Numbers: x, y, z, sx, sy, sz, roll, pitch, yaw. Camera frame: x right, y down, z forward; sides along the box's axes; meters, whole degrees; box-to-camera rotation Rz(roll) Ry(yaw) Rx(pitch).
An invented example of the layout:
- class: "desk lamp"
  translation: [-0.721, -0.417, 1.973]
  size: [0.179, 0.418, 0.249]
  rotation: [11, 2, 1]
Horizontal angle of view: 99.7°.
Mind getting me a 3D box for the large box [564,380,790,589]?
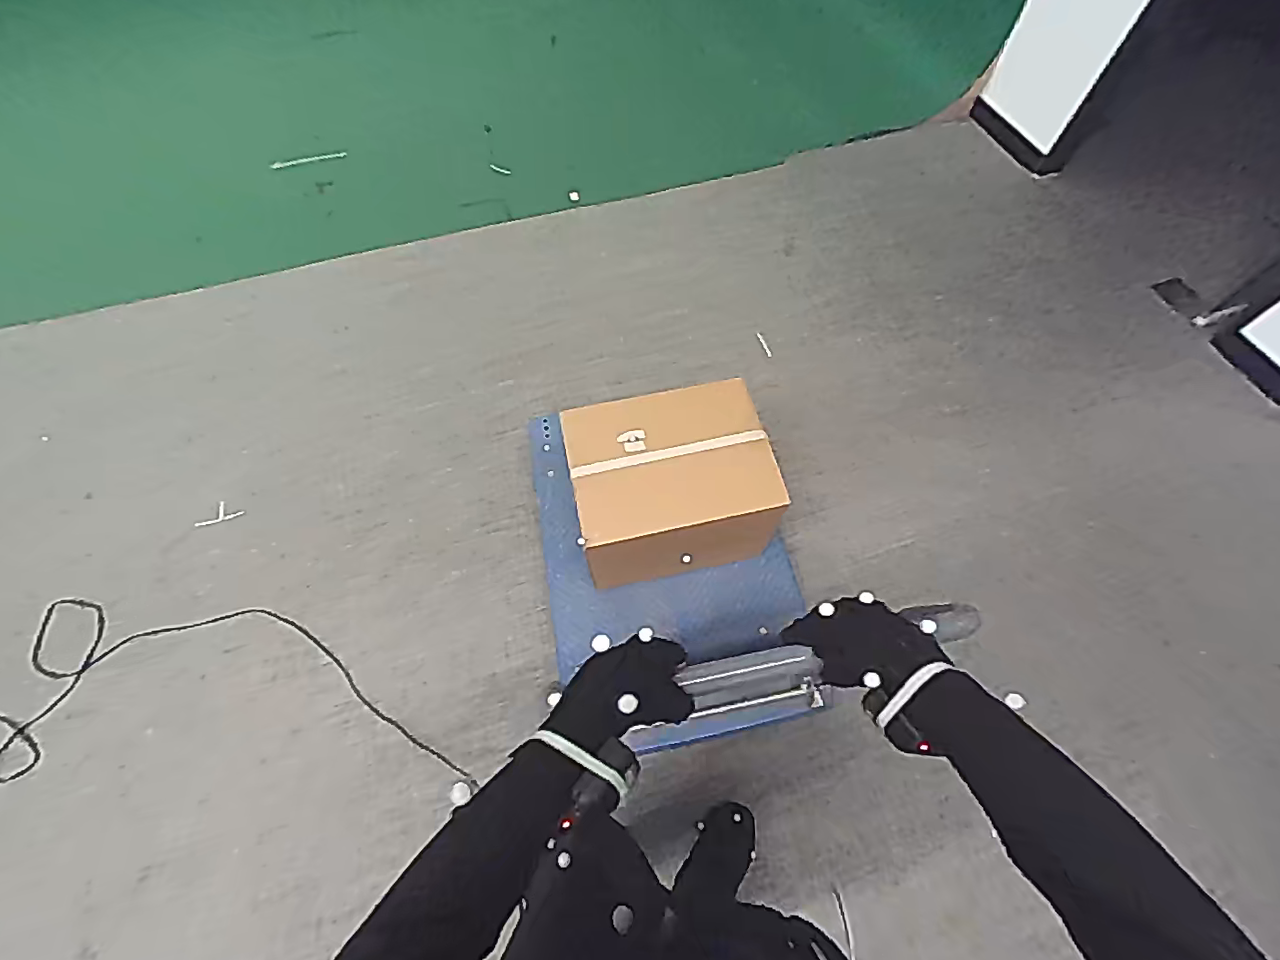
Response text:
- class: "large box"
  translation: [0.071, 0.022, 1.229]
  size: [0.408, 0.320, 0.320]
  rotation: [-13, 64, -5]
